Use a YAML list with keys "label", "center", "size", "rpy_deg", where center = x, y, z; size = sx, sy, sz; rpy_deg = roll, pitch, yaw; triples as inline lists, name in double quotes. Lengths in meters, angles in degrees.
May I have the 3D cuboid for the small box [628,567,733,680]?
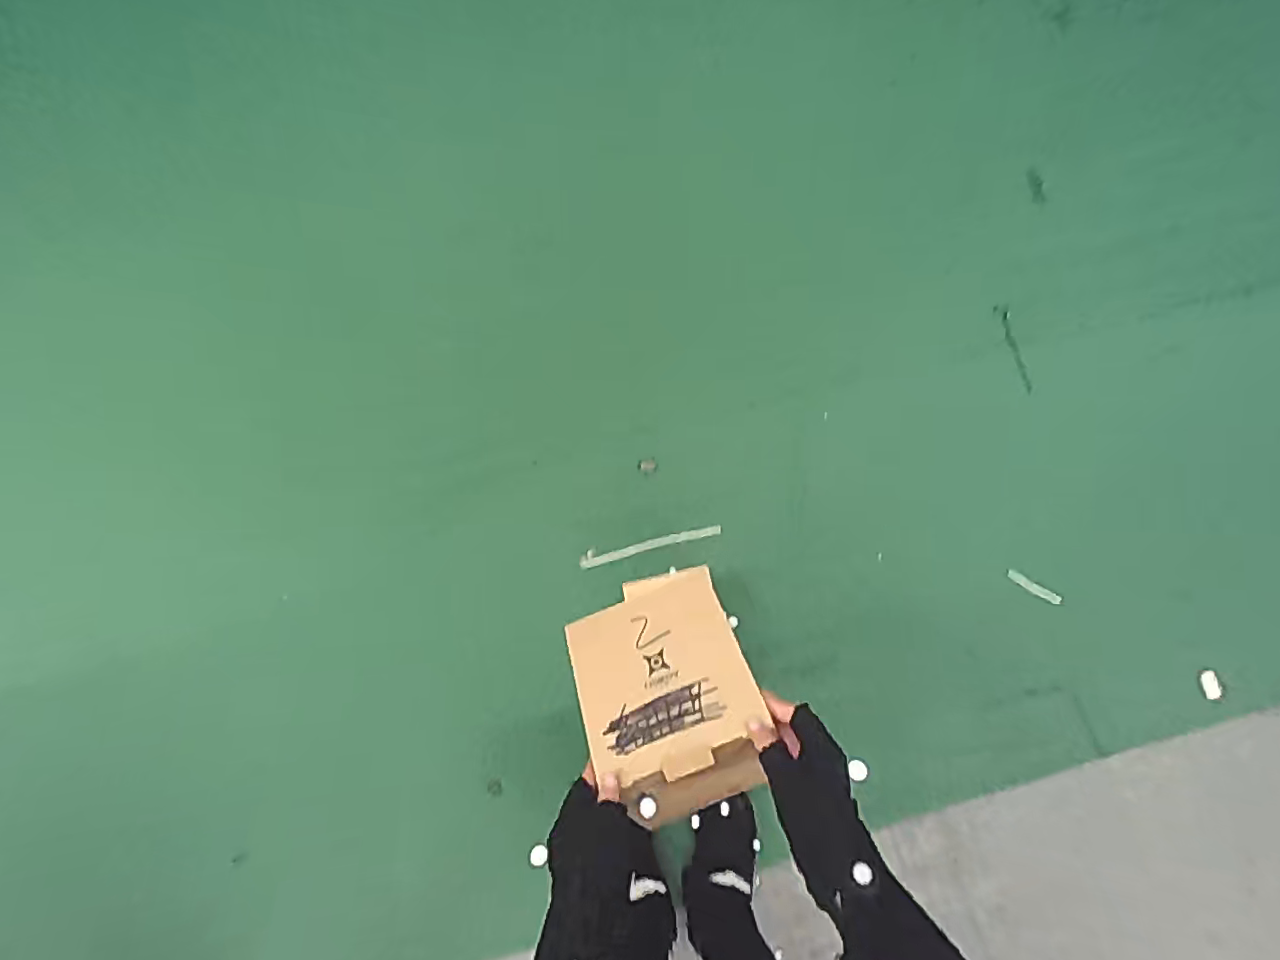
- label: "small box"
  center: [0.072, 0.281, 1.065]
  size: [0.168, 0.176, 0.179]
  rpy_deg: [-12, 76, -2]
